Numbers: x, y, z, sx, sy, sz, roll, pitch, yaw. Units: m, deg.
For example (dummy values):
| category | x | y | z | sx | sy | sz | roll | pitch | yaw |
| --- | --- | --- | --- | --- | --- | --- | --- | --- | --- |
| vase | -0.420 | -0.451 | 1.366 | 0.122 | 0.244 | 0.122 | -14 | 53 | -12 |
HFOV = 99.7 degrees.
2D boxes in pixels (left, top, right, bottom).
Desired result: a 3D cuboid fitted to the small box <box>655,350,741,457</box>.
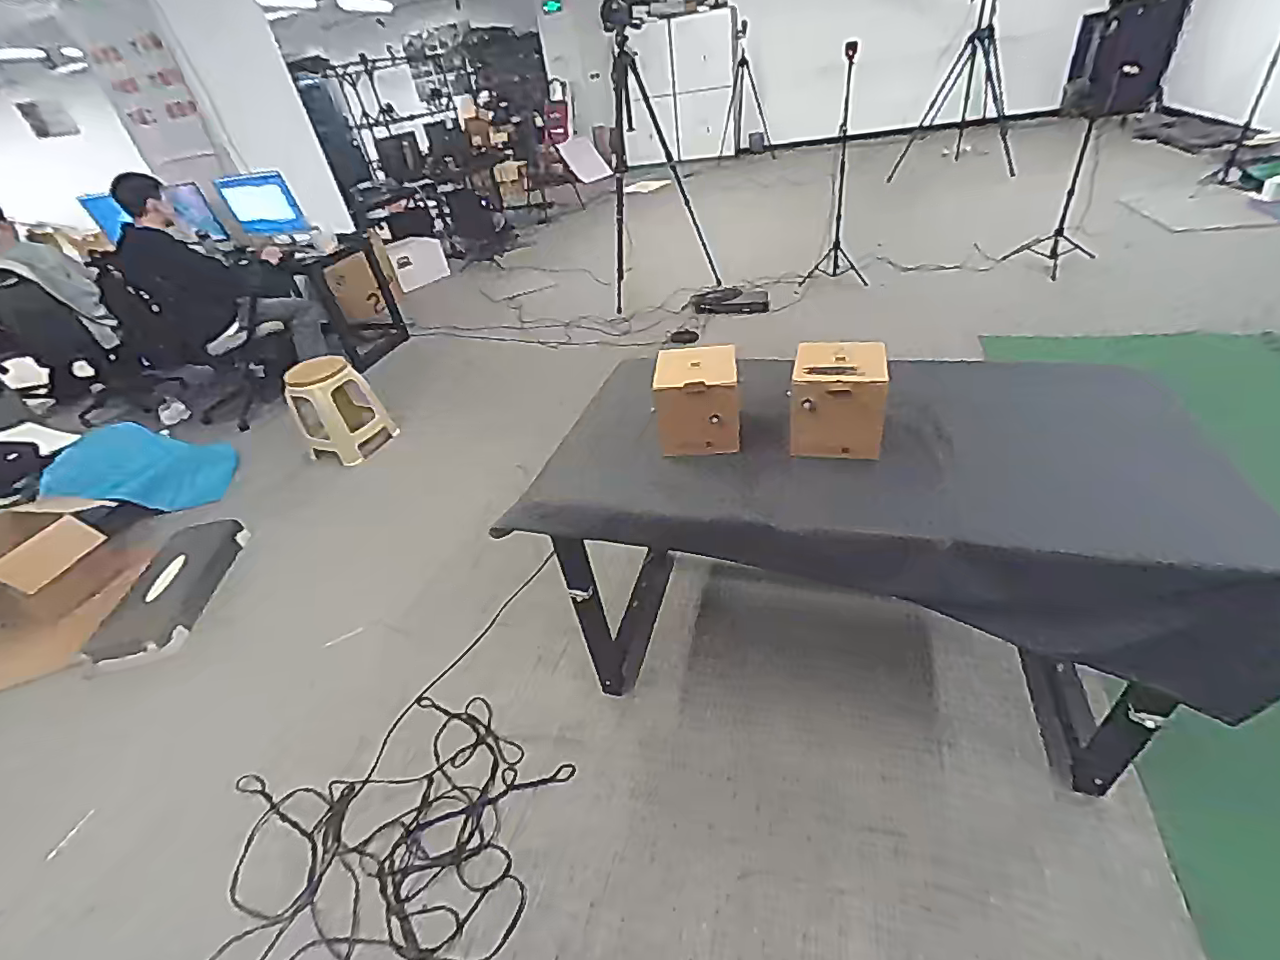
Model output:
| category | x | y | z | sx | sy | sz | roll | pitch | yaw |
| --- | --- | --- | --- | --- | --- | --- | --- | --- | --- |
| small box | 0.128 | -0.159 | 1.156 | 0.168 | 0.176 | 0.179 | -2 | 36 | 9 |
